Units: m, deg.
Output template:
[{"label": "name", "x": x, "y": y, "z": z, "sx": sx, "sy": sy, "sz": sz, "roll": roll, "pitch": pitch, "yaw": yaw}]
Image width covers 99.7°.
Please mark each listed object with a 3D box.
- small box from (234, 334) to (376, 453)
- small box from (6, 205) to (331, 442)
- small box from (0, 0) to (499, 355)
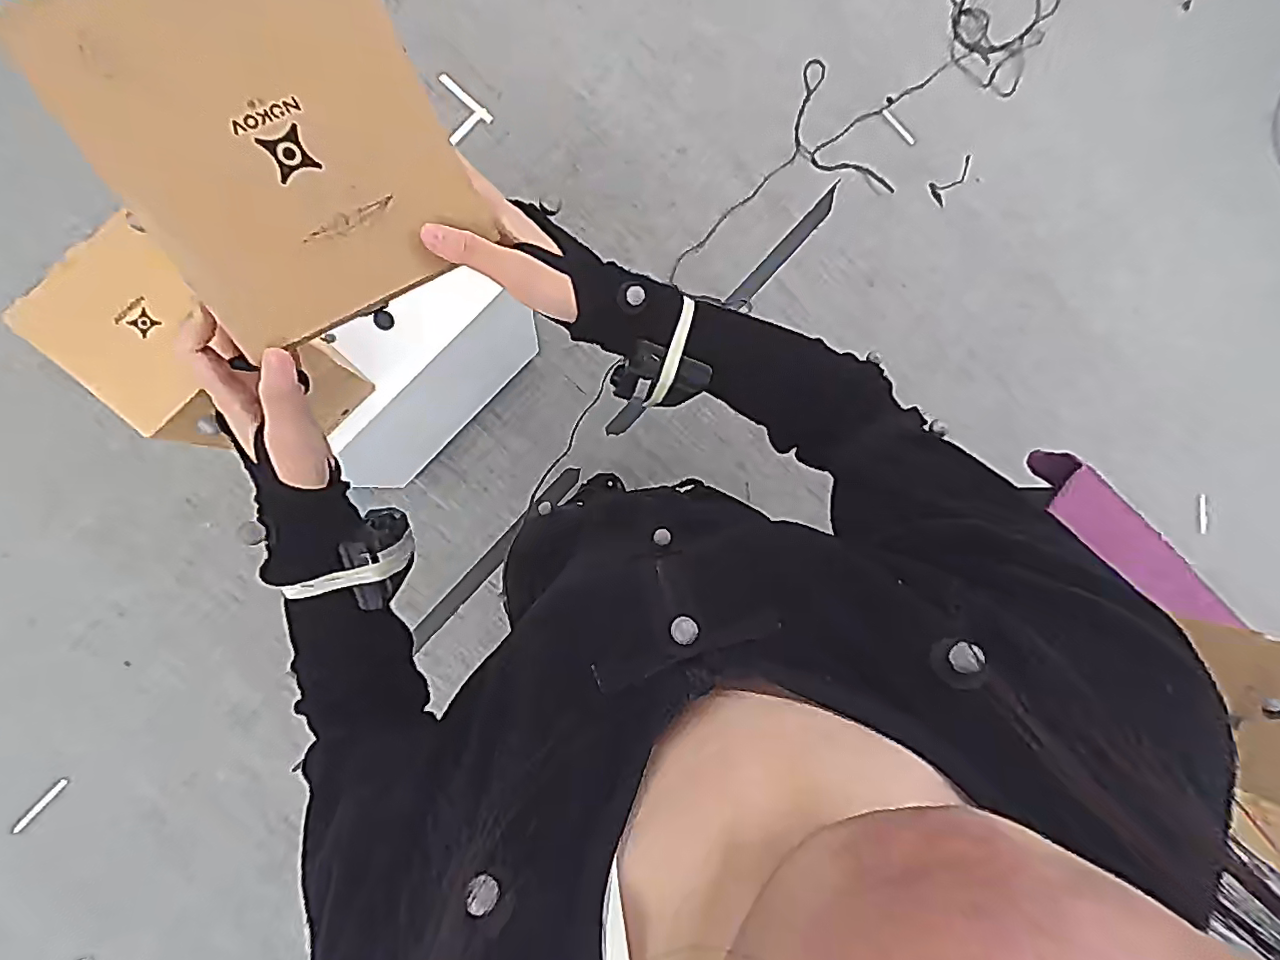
[{"label": "small box", "x": -0.520, "y": -0.153, "z": 0.767, "sx": 0.179, "sy": 0.176, "sz": 0.168, "roll": 43, "pitch": 83, "yaw": -4}, {"label": "small box", "x": -0.495, "y": -0.156, "z": 0.605, "sx": 0.179, "sy": 0.176, "sz": 0.168, "roll": 42, "pitch": 84, "yaw": -5}, {"label": "small box", "x": -0.219, "y": -0.201, "z": 0.355, "sx": 0.168, "sy": 0.176, "sz": 0.179, "roll": -32, "pitch": 116, "yaw": -11}]
